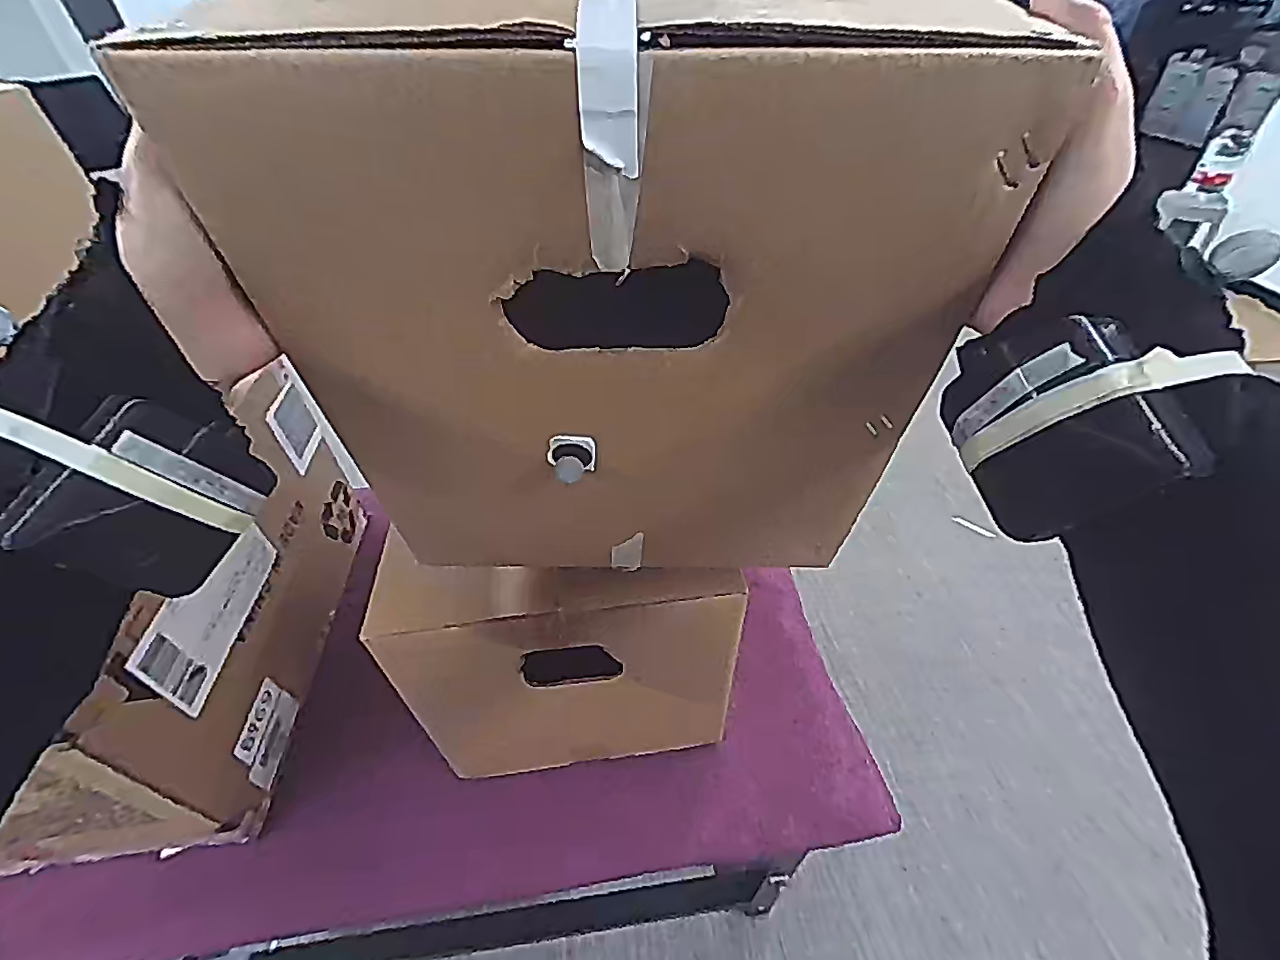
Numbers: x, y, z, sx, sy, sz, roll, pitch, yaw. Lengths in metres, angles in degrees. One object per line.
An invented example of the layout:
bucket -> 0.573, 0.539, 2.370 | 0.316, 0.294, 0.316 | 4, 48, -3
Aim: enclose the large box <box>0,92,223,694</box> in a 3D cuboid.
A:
large box -> -0.630, -0.069, 0.412 | 0.320, 0.320, 0.408 | -8, 44, -4
